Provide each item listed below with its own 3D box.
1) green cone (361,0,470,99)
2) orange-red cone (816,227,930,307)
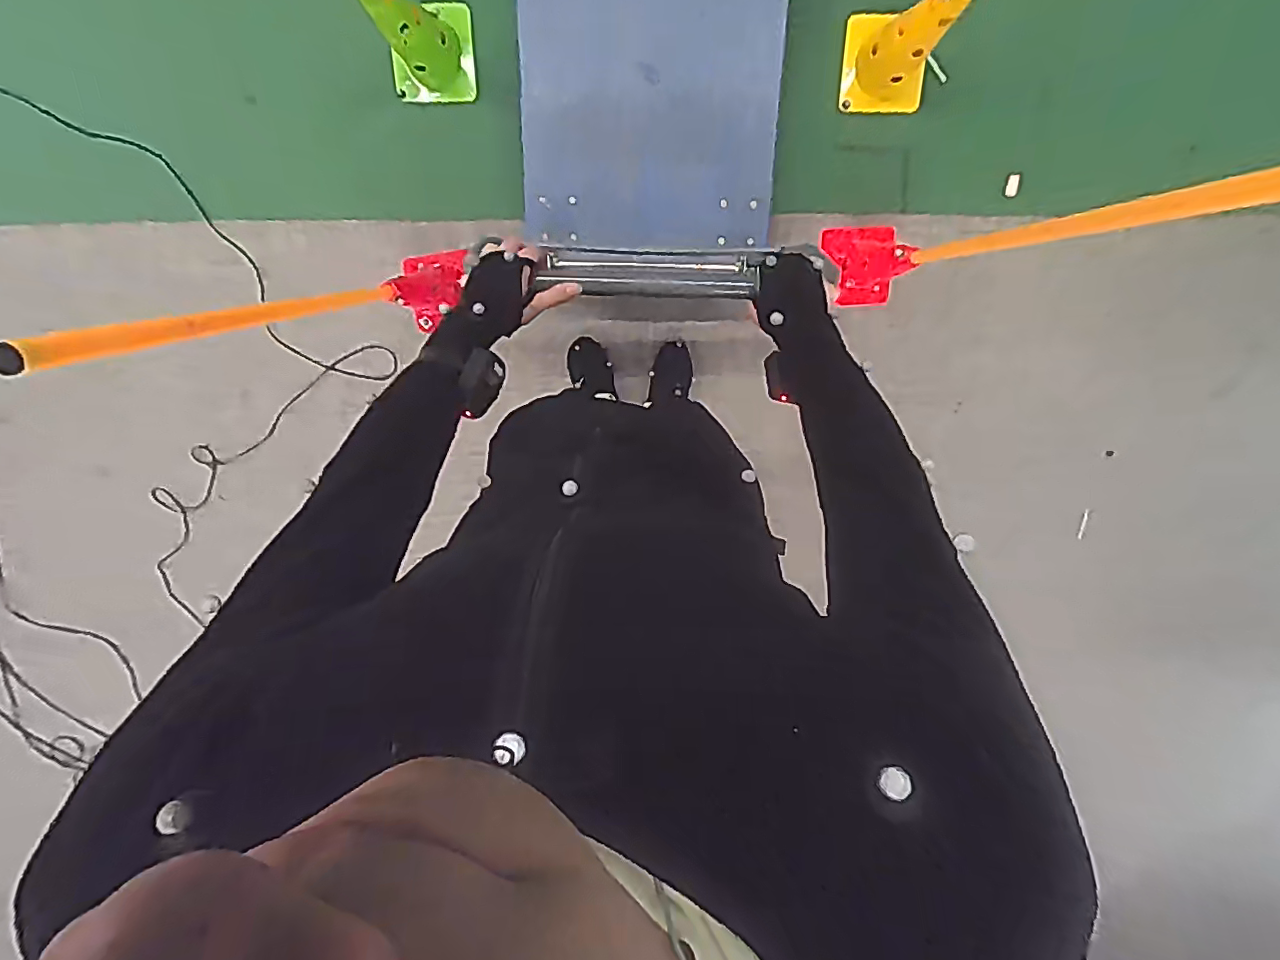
[{"bbox_3d":[-0.514,-0.974,1.125,0.200,0.368,0.202,0,108,1],"label":"green cone"},{"bbox_3d":[0.574,-0.514,1.274,0.198,0.360,0.199,0,107,0],"label":"orange-red cone"}]
